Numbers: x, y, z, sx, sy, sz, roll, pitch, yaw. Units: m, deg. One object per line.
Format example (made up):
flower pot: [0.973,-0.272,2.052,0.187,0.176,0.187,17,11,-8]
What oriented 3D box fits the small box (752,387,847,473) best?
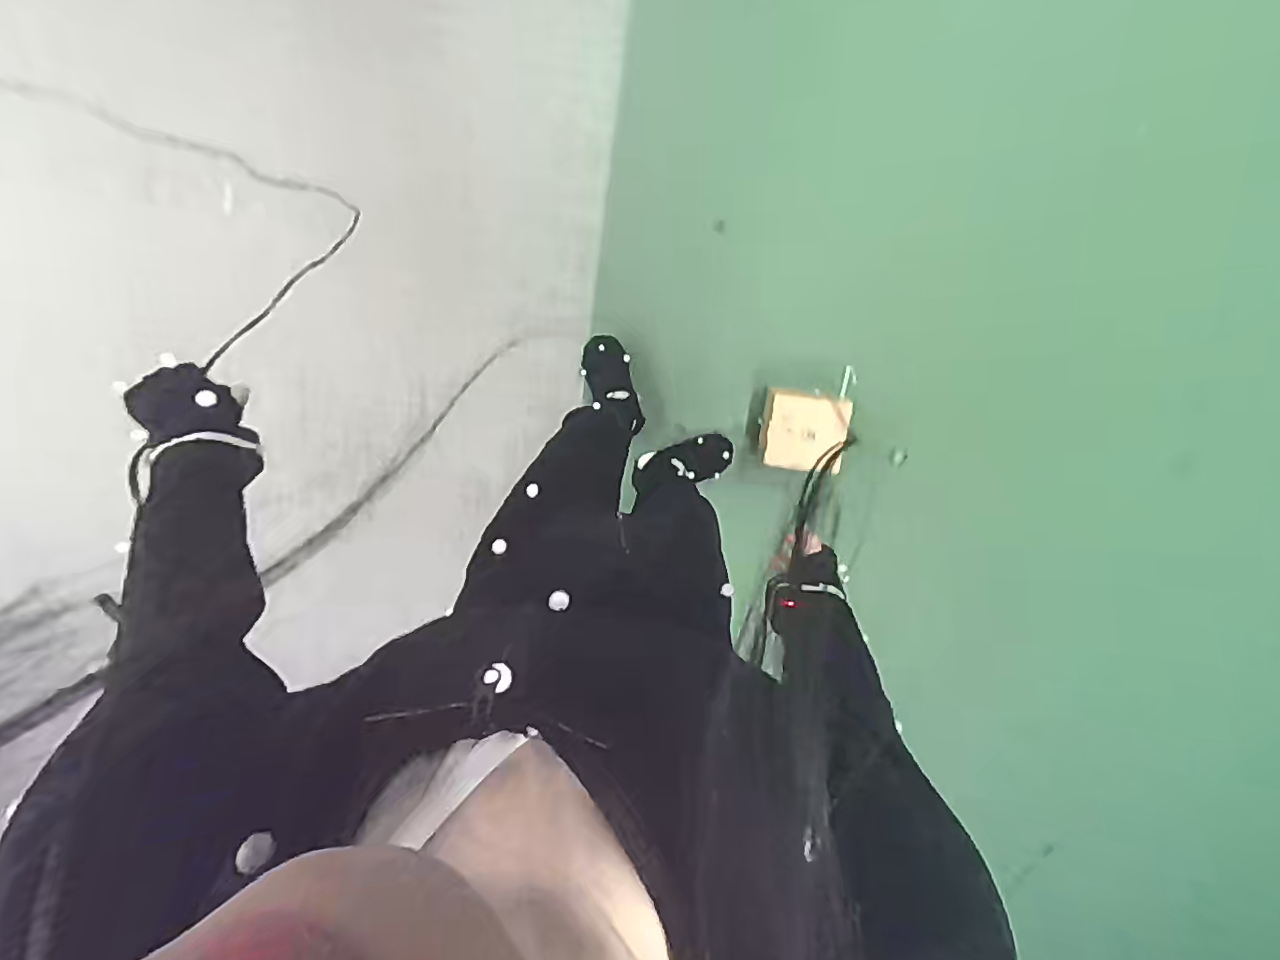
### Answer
small box: [0.377,-0.126,1.309,0.179,0.176,0.168,8,107,4]
